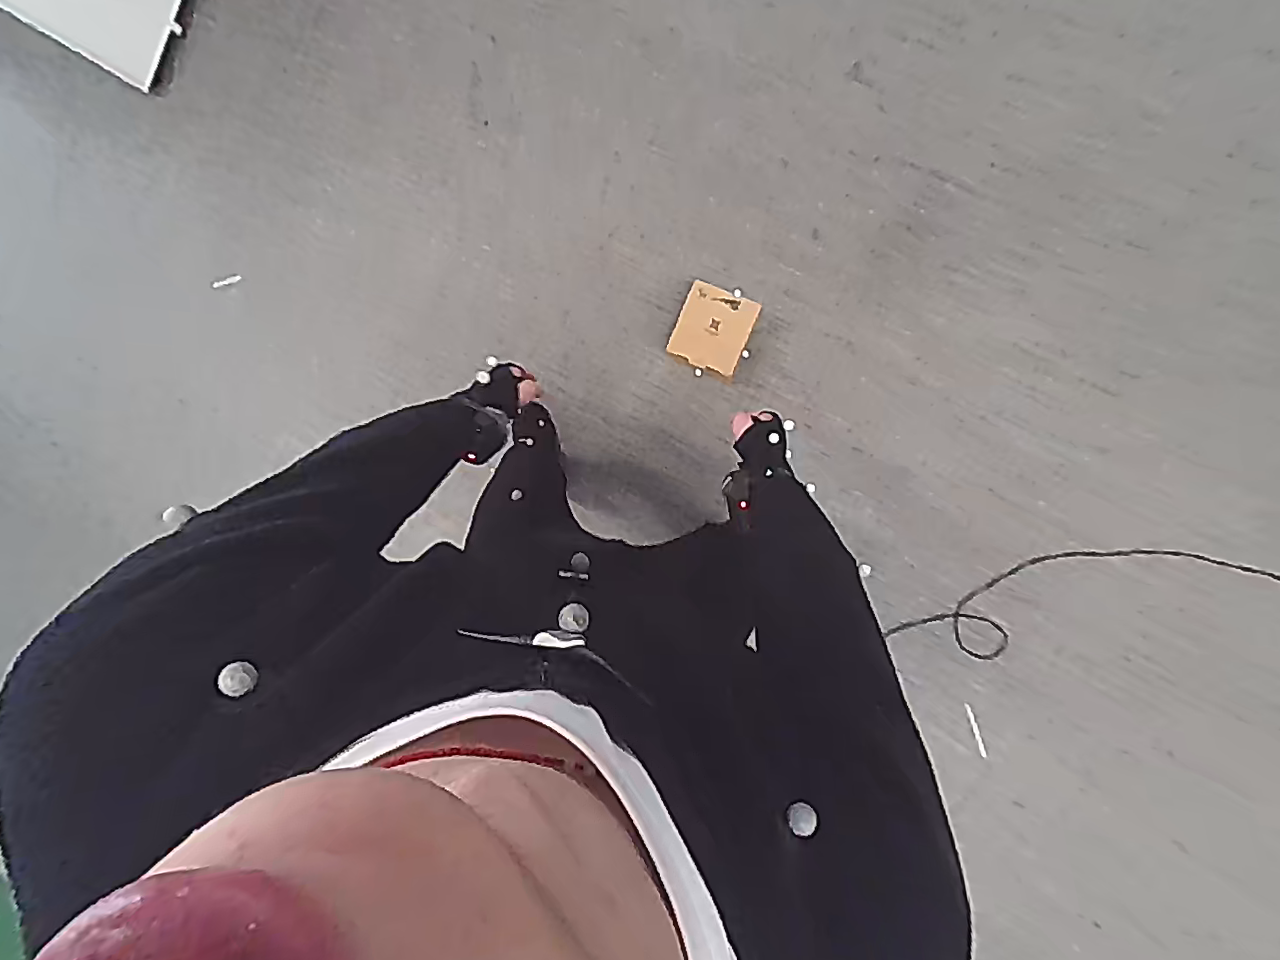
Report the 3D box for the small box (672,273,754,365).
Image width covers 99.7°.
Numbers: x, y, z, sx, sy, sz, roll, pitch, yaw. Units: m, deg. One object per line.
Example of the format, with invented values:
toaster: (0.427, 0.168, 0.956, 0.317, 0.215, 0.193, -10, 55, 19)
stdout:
small box: (0.180, -0.379, 1.302, 0.179, 0.176, 0.168, -5, 92, 12)
